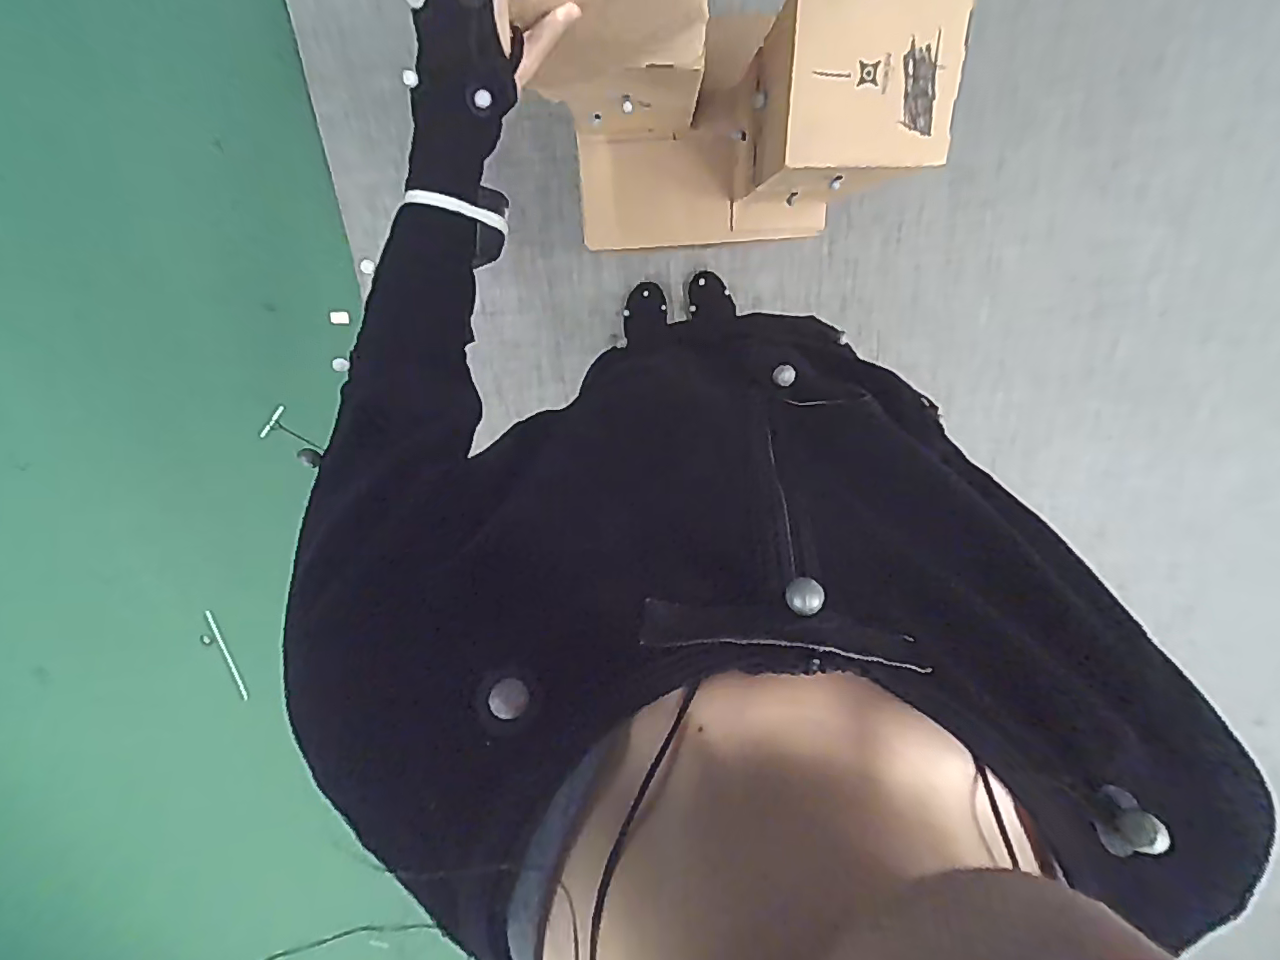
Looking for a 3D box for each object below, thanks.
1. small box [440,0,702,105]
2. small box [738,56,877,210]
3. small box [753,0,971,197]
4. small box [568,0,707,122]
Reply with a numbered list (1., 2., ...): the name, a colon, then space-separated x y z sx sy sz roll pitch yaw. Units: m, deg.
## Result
1. small box: -0.067 -0.455 0.450 0.179 0.176 0.168 -14 105 23
2. small box: 0.240 -0.491 0.785 0.179 0.176 0.168 0 112 2
3. small box: 0.239 -0.434 0.631 0.179 0.176 0.168 0 111 2
4. small box: -0.012 -0.528 0.608 0.168 0.176 0.179 2 112 2
